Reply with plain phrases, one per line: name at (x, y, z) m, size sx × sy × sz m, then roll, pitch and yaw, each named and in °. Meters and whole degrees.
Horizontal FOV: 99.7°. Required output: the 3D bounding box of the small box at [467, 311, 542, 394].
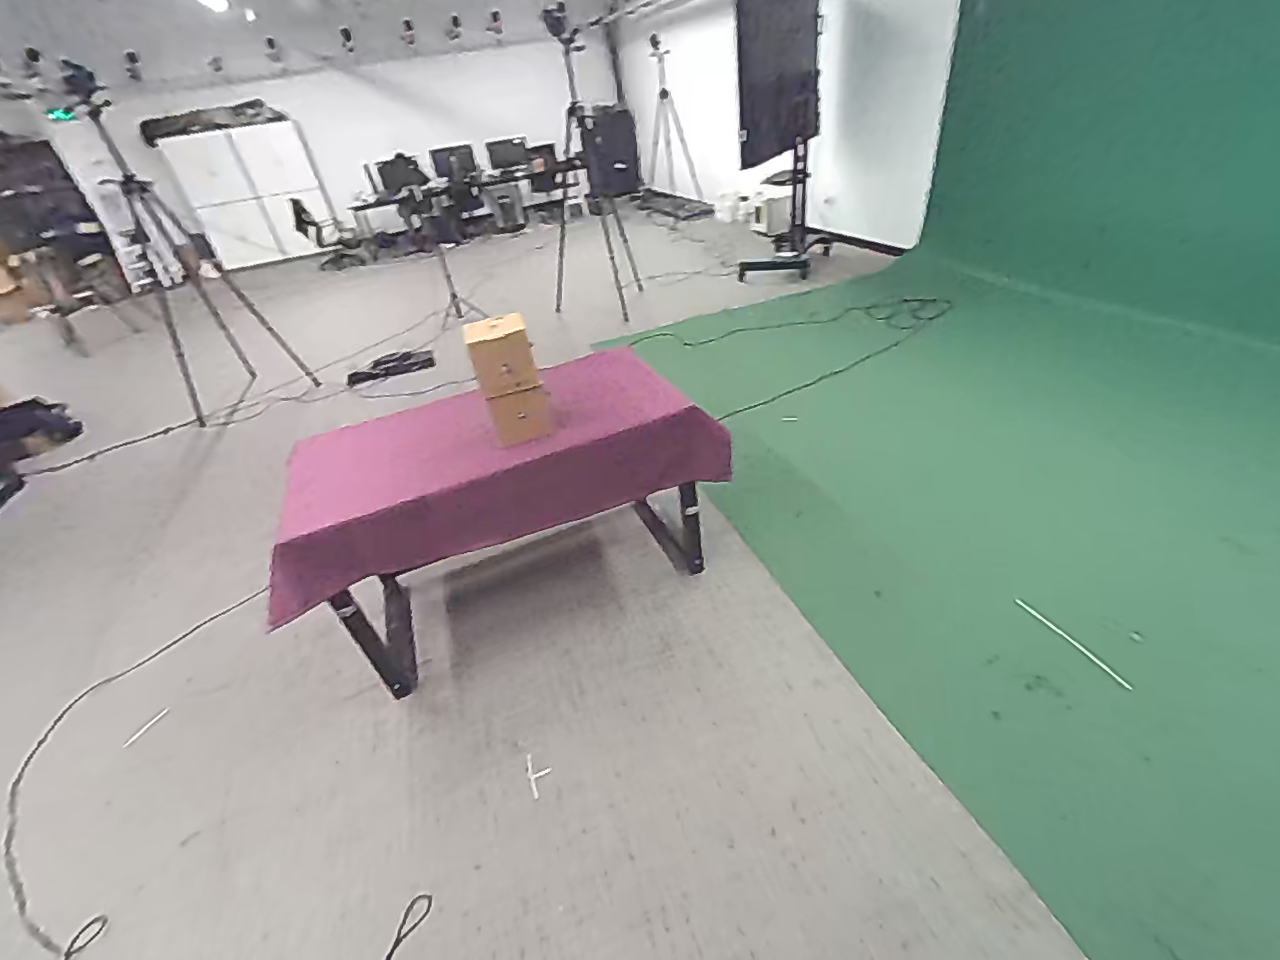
small box at (-0.386, -0.361, 1.547) m, size 0.168 × 0.176 × 0.179 m, roll -16°, pitch 36°, yaw -9°
